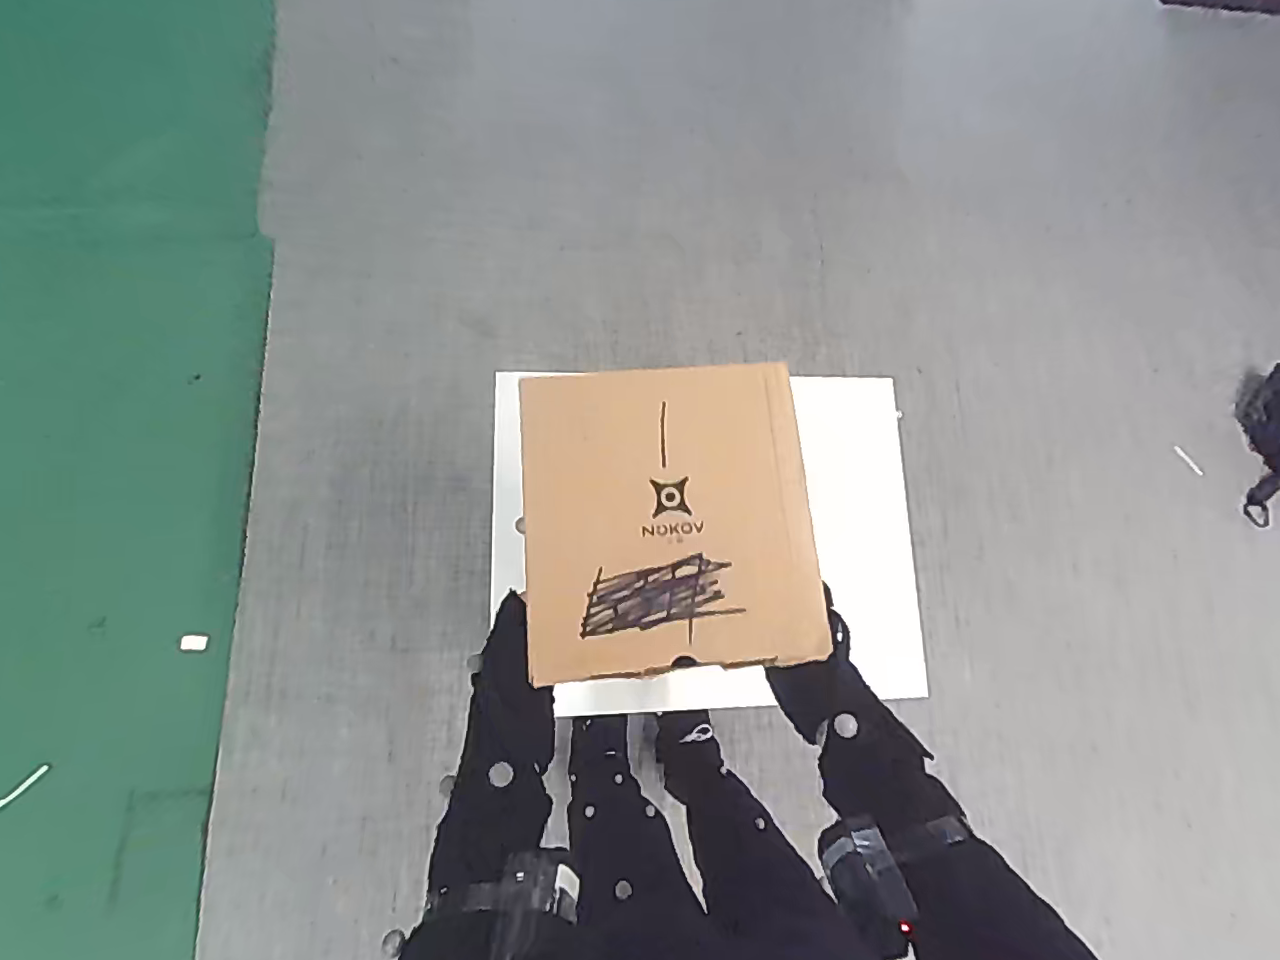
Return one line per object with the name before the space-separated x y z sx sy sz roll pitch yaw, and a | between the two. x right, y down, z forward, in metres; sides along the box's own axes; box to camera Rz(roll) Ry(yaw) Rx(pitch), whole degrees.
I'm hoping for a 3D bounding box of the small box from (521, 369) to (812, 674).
small box | 0.009 0.034 0.398 0.168 0.176 0.179 -3 78 -4
